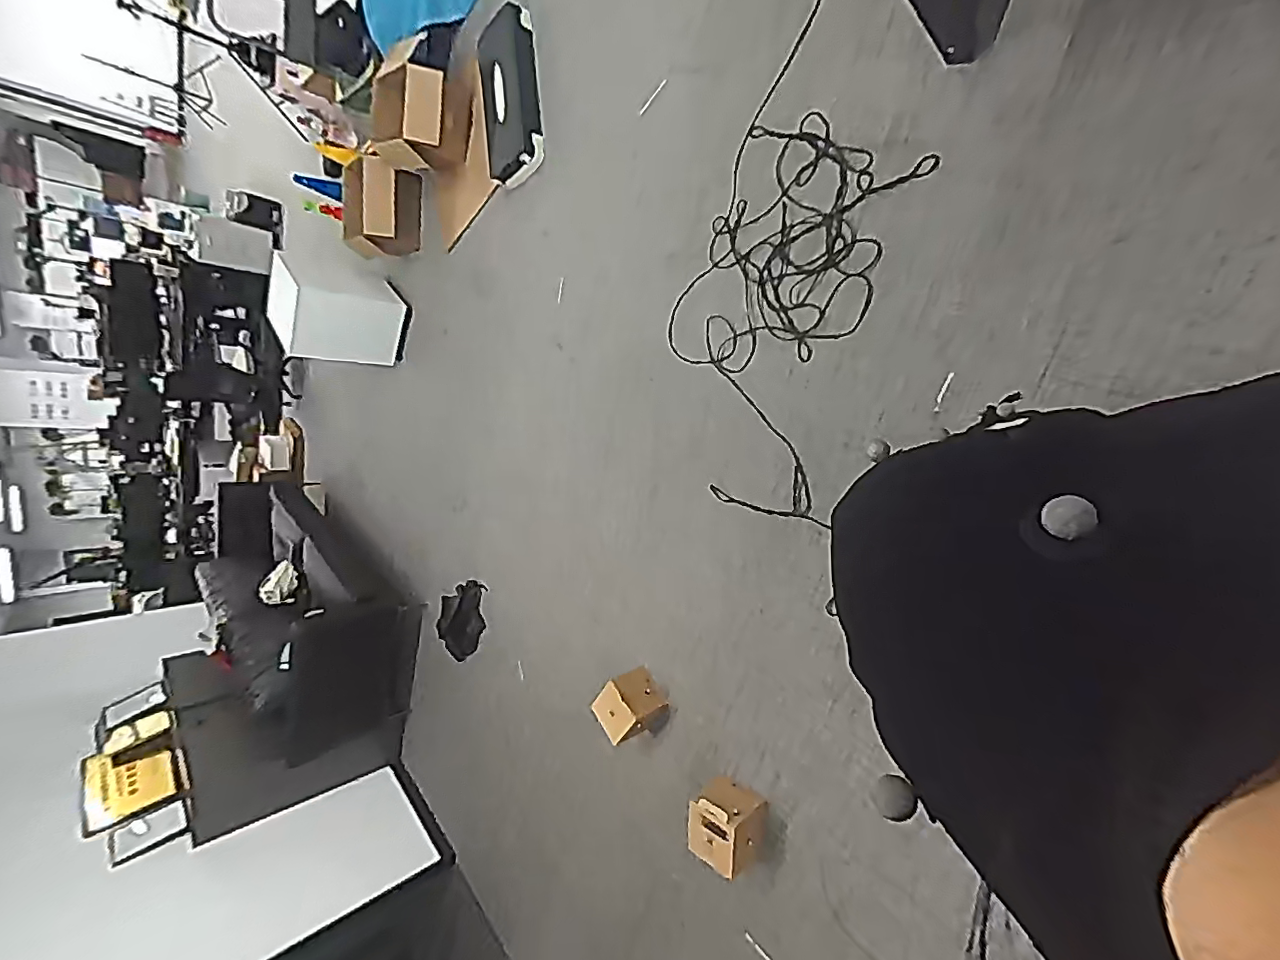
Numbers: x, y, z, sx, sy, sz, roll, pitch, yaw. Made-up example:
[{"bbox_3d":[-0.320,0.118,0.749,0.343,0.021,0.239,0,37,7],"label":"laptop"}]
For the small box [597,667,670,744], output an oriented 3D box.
[{"bbox_3d":[-0.020,0.804,1.938,0.168,0.176,0.179,49,124,31],"label":"small box"}]
